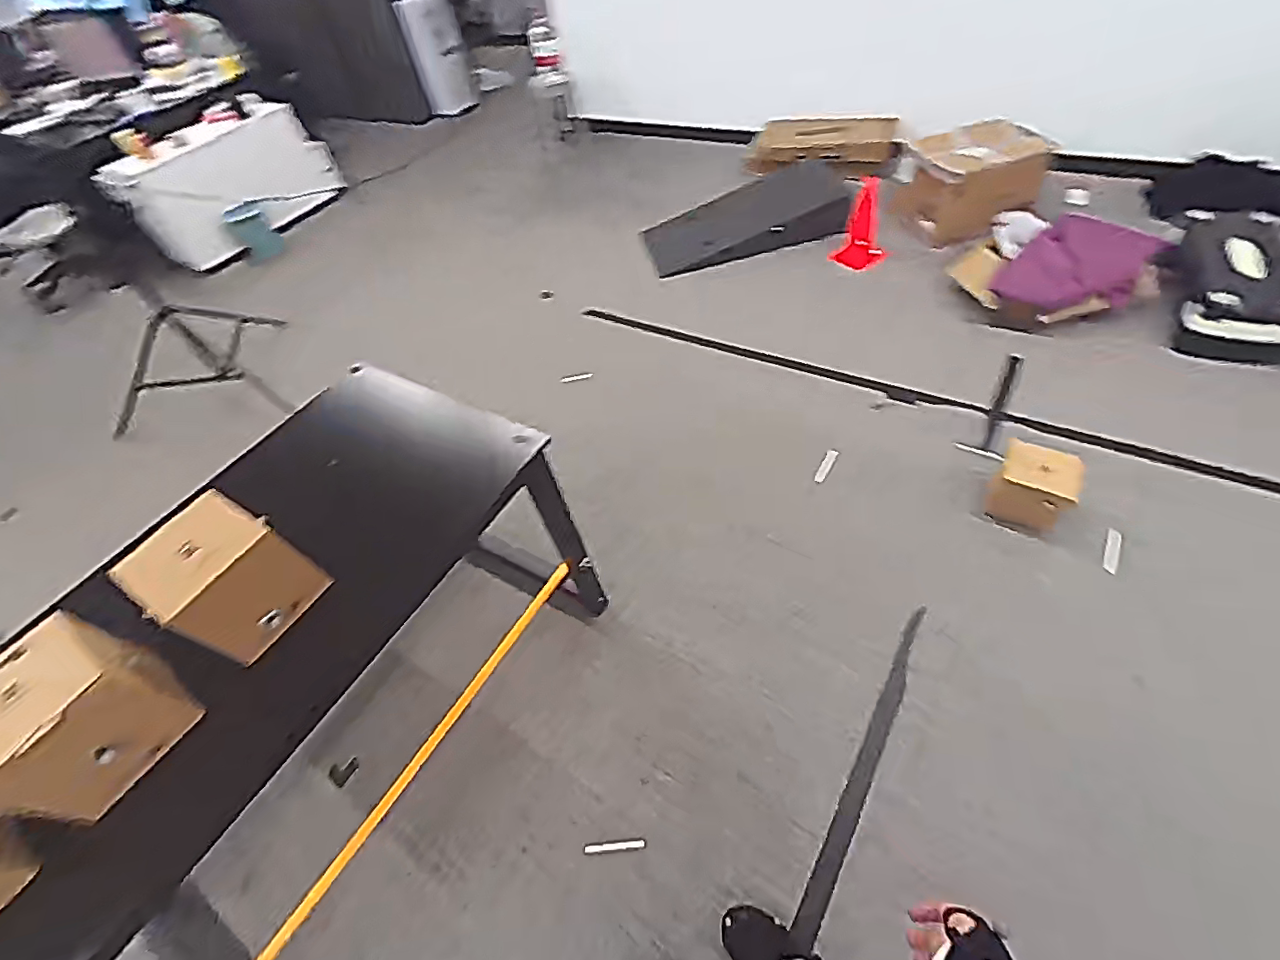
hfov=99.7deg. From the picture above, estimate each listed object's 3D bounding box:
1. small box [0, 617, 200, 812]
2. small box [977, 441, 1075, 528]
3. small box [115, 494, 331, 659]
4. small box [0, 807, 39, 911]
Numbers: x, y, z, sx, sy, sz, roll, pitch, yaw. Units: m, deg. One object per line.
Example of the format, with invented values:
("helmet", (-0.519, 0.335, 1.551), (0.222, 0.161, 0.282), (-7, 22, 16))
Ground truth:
("small box", (-0.767, 0.324, 0.739), (0.179, 0.176, 0.168), (23, 59, 25))
("small box", (1.131, 0.018, 1.592), (0.179, 0.176, 0.168), (21, 58, 24))
("small box", (-0.644, 0.155, 0.854), (0.179, 0.176, 0.168), (21, 59, 24))
("small box", (-0.894, 0.486, 0.630), (0.168, 0.176, 0.179), (22, 58, 25))
